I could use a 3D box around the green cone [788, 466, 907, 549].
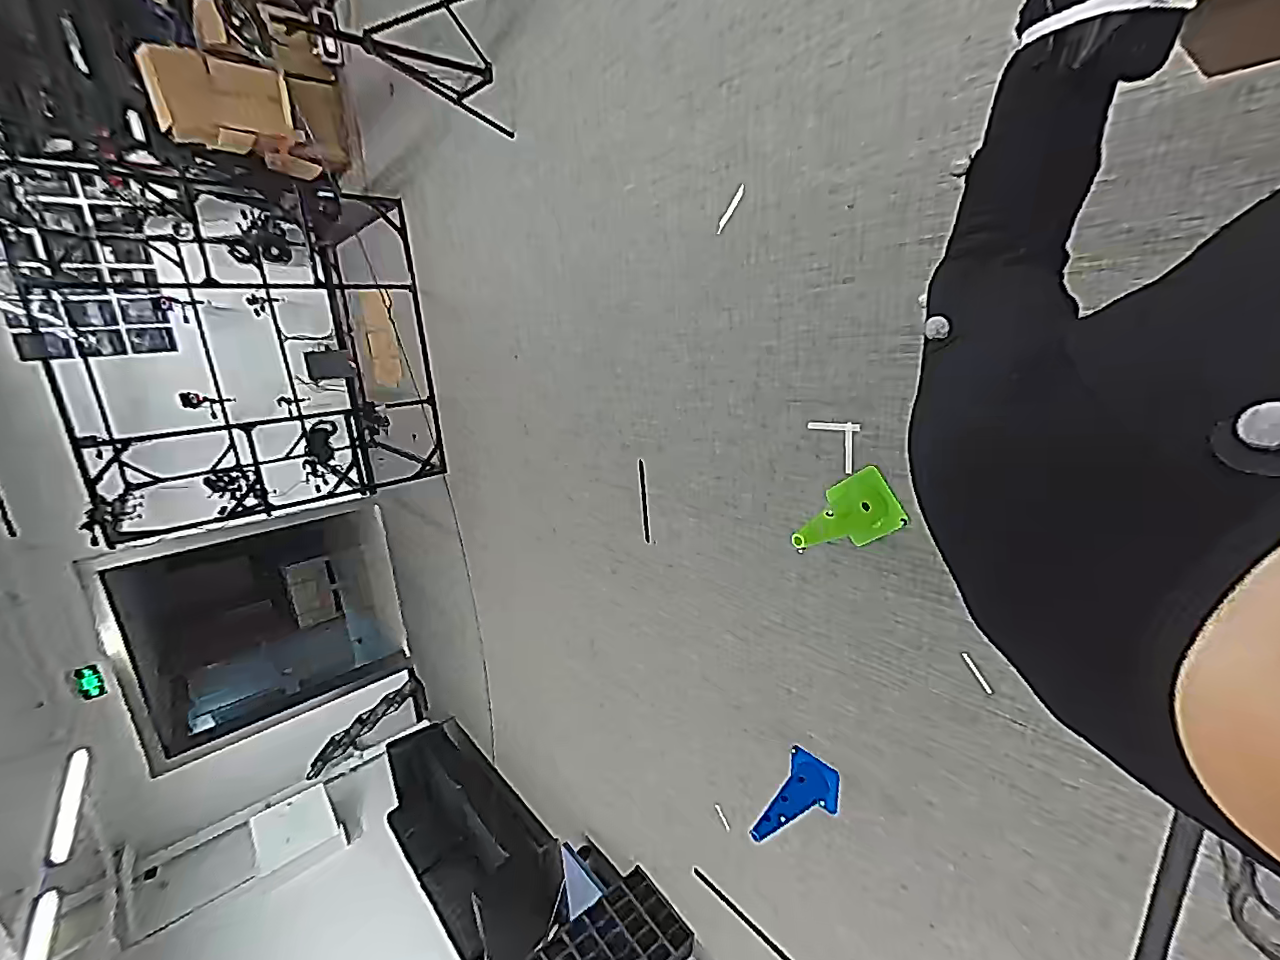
[{"bbox_3d":[0.547,0.117,1.528,0.202,0.368,0.200,-45,67,50],"label":"green cone"}]

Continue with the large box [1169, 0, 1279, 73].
[{"bbox_3d":[0.544,-0.451,0.236,0.408,0.320,0.320,15,119,46],"label":"large box"}]

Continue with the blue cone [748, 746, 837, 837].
[{"bbox_3d":[0.534,1.166,1.952,0.192,0.380,0.193,19,117,48],"label":"blue cone"}]
